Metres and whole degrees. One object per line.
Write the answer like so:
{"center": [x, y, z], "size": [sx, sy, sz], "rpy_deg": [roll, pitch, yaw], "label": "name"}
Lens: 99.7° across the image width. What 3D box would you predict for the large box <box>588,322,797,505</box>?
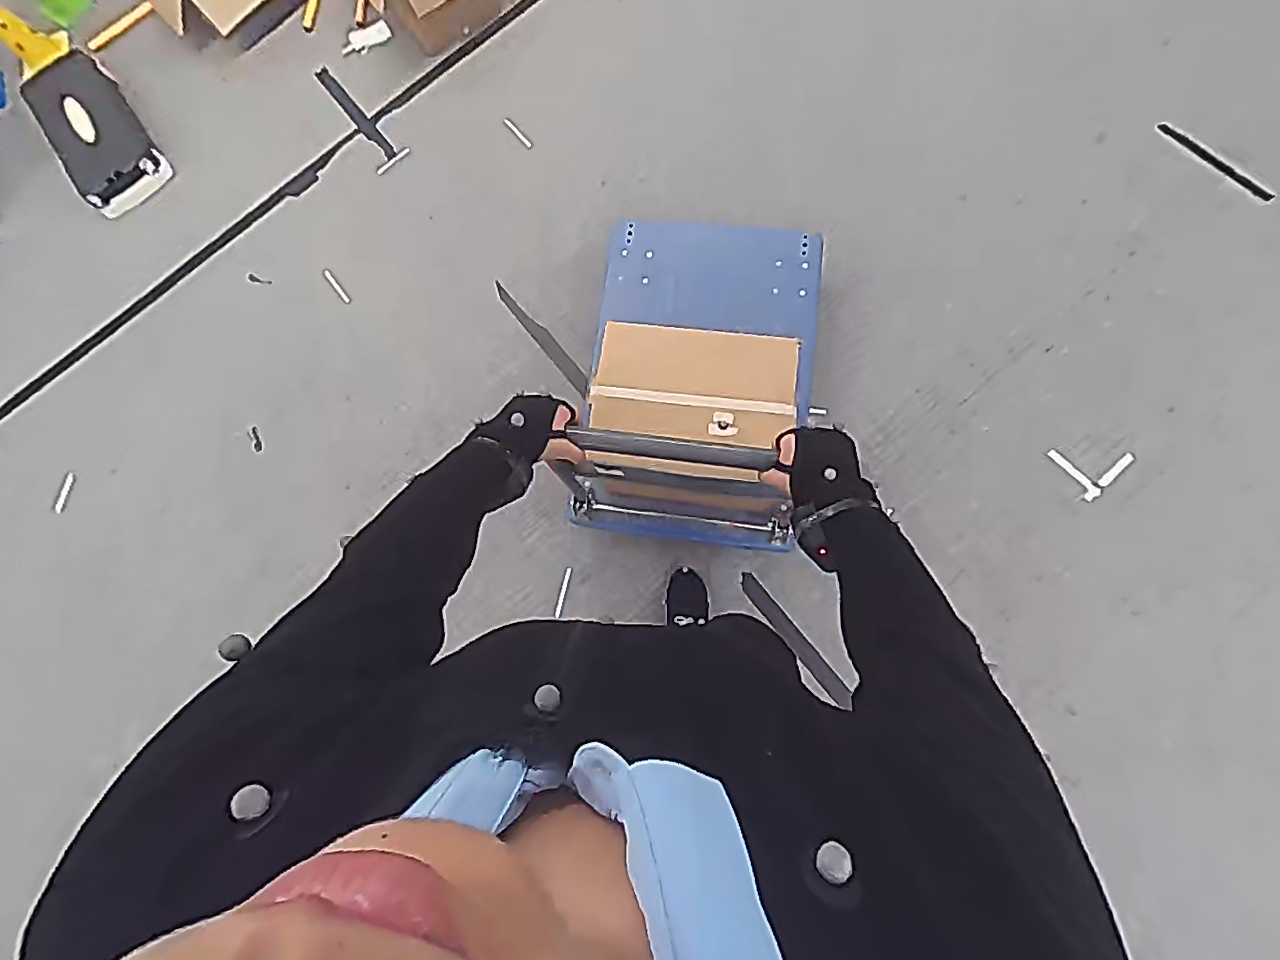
{"center": [0.115, -0.134, 1.237], "size": [0.408, 0.320, 0.320], "rpy_deg": [7, 79, 5], "label": "large box"}
